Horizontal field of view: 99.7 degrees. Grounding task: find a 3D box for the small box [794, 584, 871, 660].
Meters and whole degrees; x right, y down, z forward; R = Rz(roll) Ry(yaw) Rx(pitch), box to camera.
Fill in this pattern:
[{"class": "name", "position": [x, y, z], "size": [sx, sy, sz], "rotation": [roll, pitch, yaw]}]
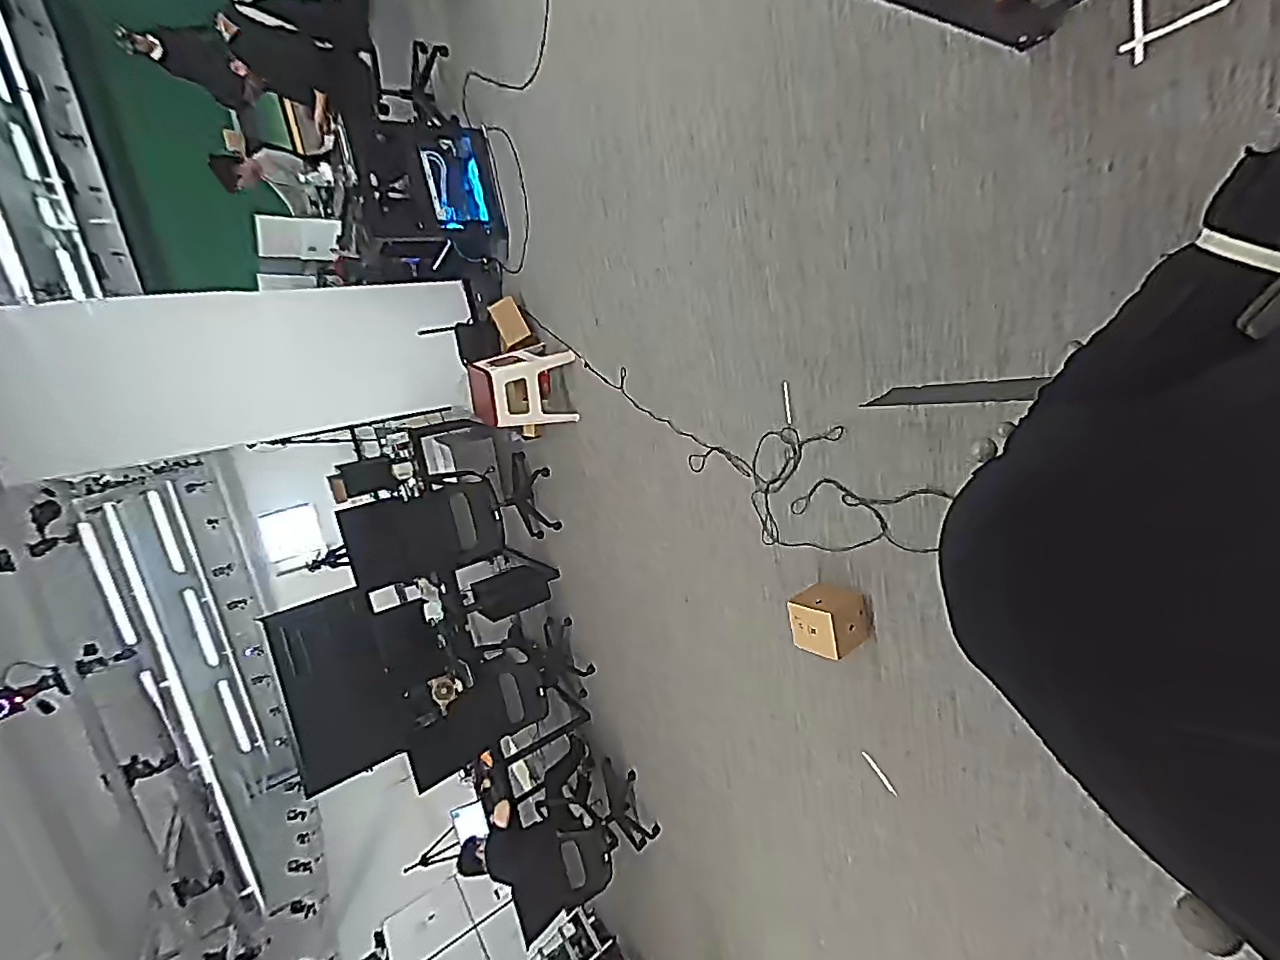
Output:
[{"class": "small box", "position": [0.635, 0.456, 1.768], "size": [0.179, 0.176, 0.168], "rotation": [5, 109, 57]}]
